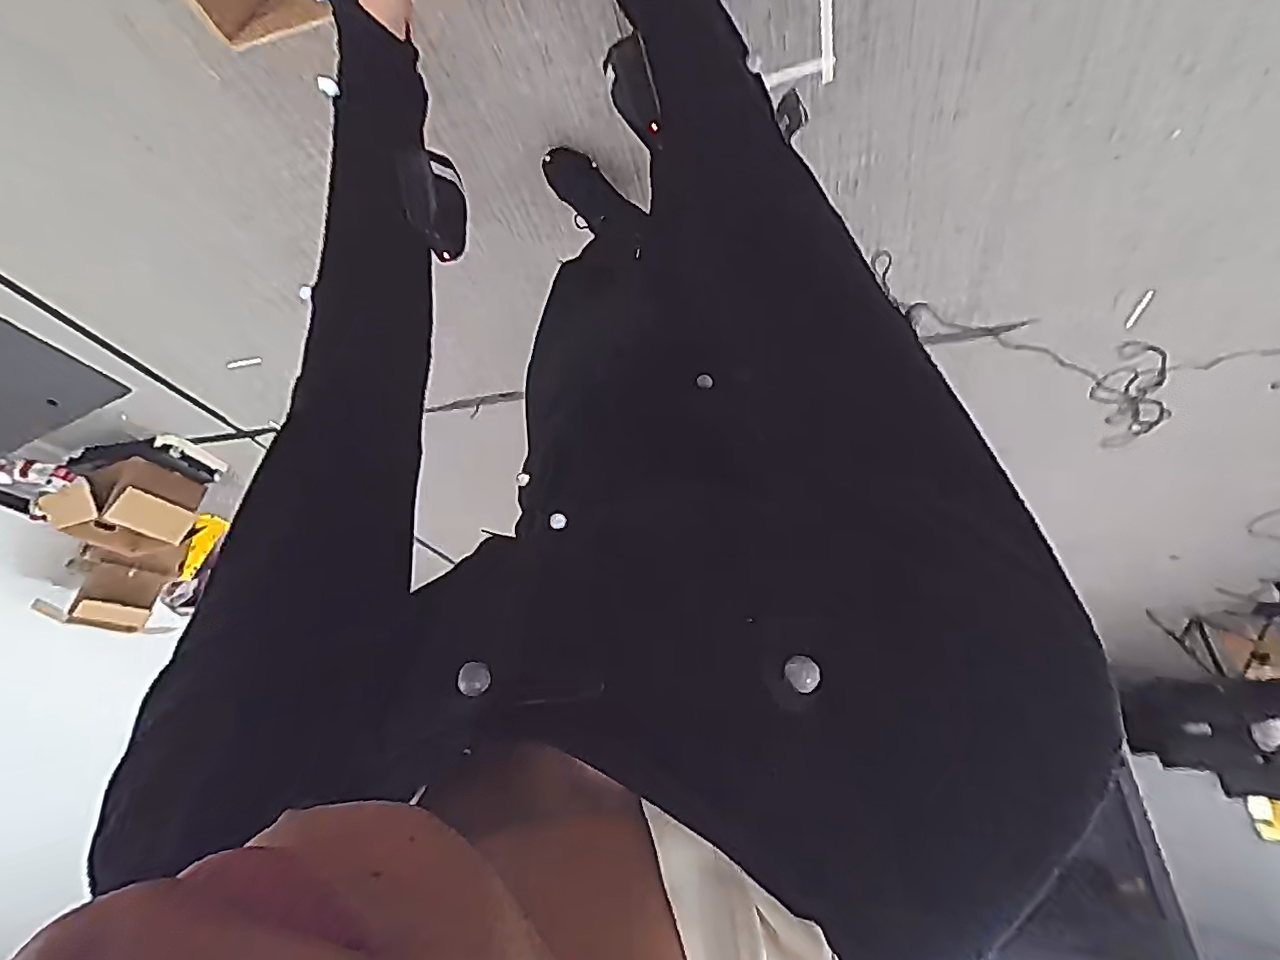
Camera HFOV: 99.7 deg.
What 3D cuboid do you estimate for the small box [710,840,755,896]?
[{"bbox_3d":[0.383,1.586,2.222,0.168,0.176,0.179,-6,149,14],"label":"small box"}]
